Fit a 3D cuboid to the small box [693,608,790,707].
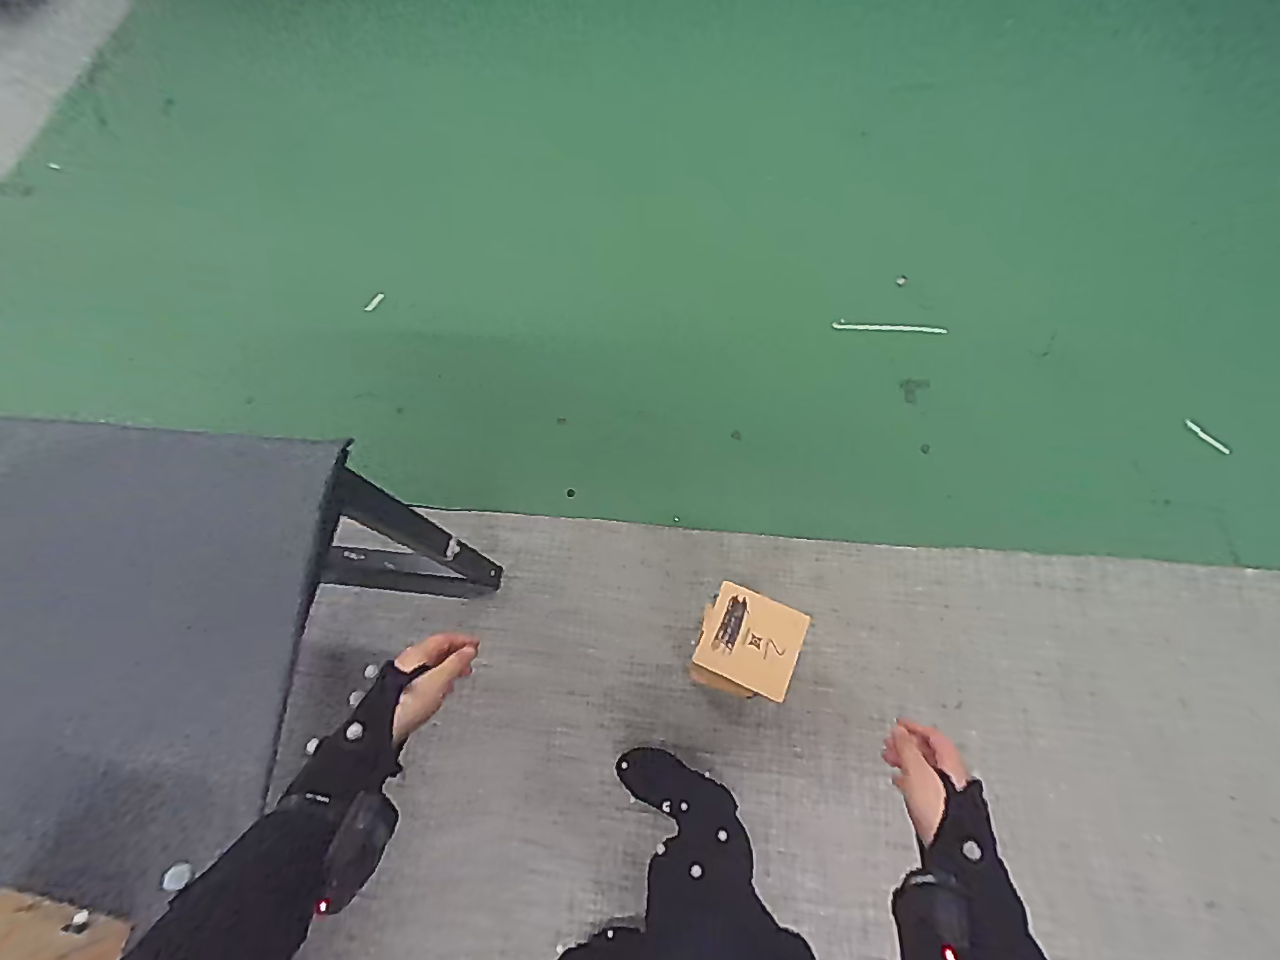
[{"bbox_3d":[0.221,0.396,1.206,0.179,0.176,0.168,12,70,10],"label":"small box"}]
